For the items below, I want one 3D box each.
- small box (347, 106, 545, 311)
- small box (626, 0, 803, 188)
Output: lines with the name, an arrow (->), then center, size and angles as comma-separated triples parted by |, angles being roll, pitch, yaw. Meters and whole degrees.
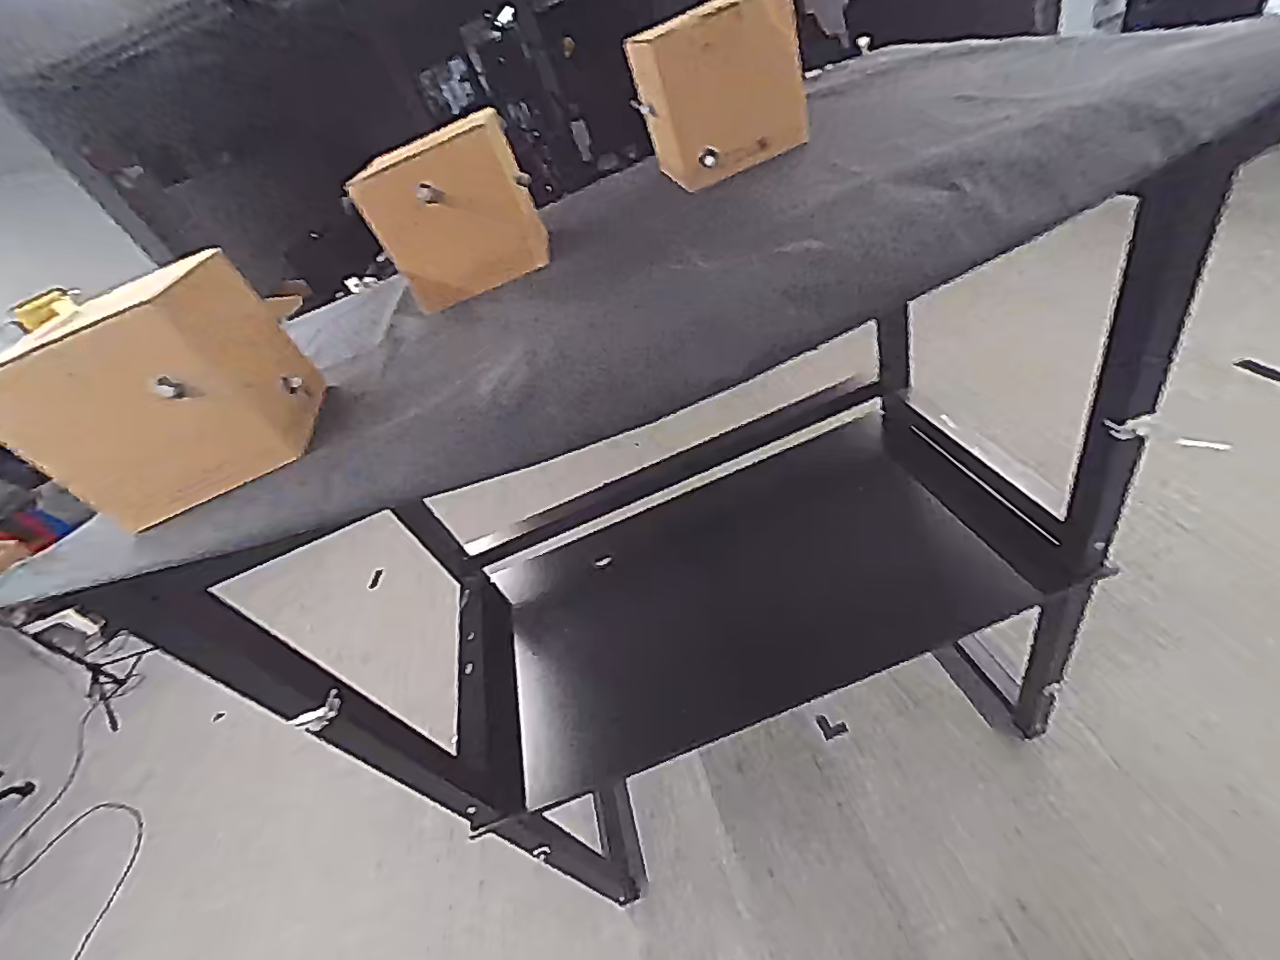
small box -> -0.234, -0.352, 0.708 | 0.179, 0.176, 0.168 | -20, 40, 6
small box -> 0.098, -0.509, 0.709 | 0.168, 0.176, 0.179 | -21, 39, 4
